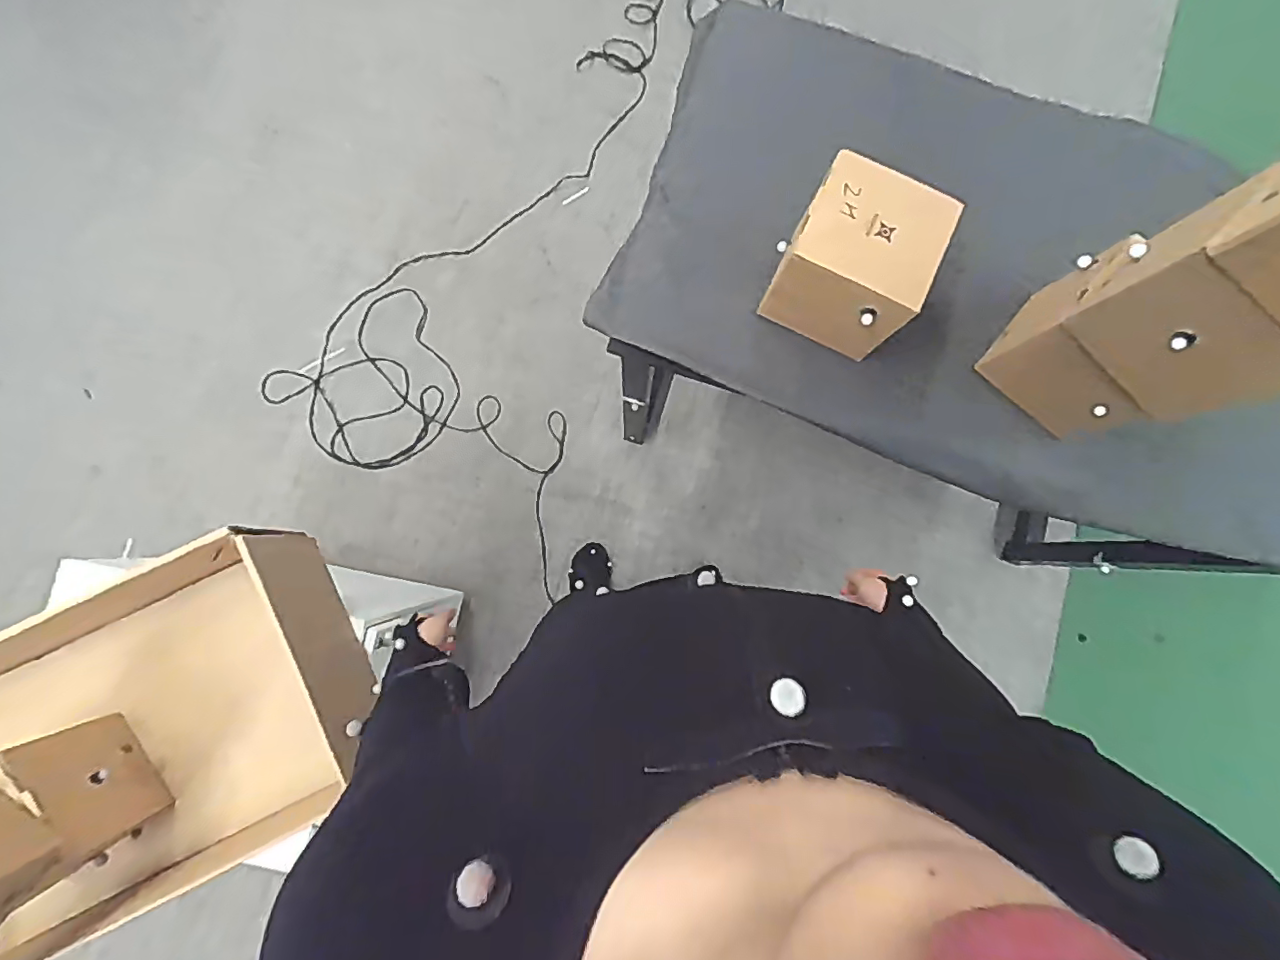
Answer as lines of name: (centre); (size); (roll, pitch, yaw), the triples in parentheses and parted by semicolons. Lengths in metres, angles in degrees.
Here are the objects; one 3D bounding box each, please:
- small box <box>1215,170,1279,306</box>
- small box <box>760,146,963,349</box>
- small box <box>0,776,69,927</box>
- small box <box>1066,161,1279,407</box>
small box: (0.630, -0.220, 0.417); (0.168, 0.176, 0.179); (-43, 86, -7)
small box: (0.293, -0.305, 0.750); (0.179, 0.176, 0.168); (26, 82, 2)
small box: (-0.792, 0.429, 0.564); (0.179, 0.176, 0.168); (35, 84, 0)
small box: (0.628, -0.197, 0.578); (0.168, 0.176, 0.179); (-41, 85, -7)
